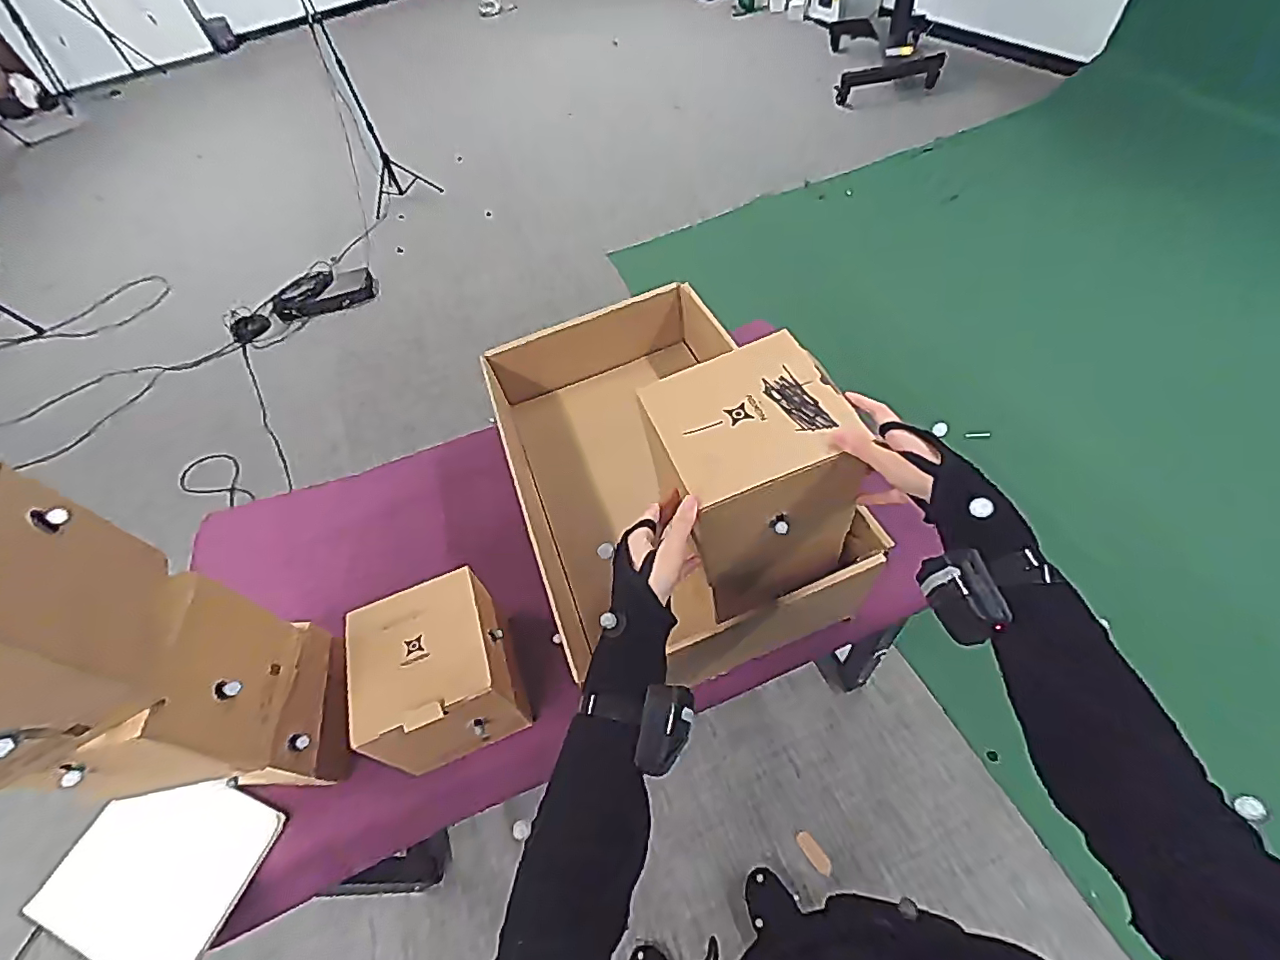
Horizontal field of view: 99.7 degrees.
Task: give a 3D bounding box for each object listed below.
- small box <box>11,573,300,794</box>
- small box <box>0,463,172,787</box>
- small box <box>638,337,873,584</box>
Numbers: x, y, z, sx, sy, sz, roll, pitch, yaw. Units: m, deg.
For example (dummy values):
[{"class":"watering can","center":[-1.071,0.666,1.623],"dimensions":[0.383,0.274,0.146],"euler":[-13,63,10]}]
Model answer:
[{"class":"small box","center":[-0.508,0.222,0.578],"dimensions":[0.179,0.176,0.168],"euler":[-12,52,2]},{"class":"small box","center":[-0.537,0.125,0.448],"dimensions":[0.168,0.176,0.179],"euler":[-30,55,-12]},{"class":"small box","center":[0.115,-0.016,0.583],"dimensions":[0.179,0.176,0.168],"euler":[-22,53,-3]}]
